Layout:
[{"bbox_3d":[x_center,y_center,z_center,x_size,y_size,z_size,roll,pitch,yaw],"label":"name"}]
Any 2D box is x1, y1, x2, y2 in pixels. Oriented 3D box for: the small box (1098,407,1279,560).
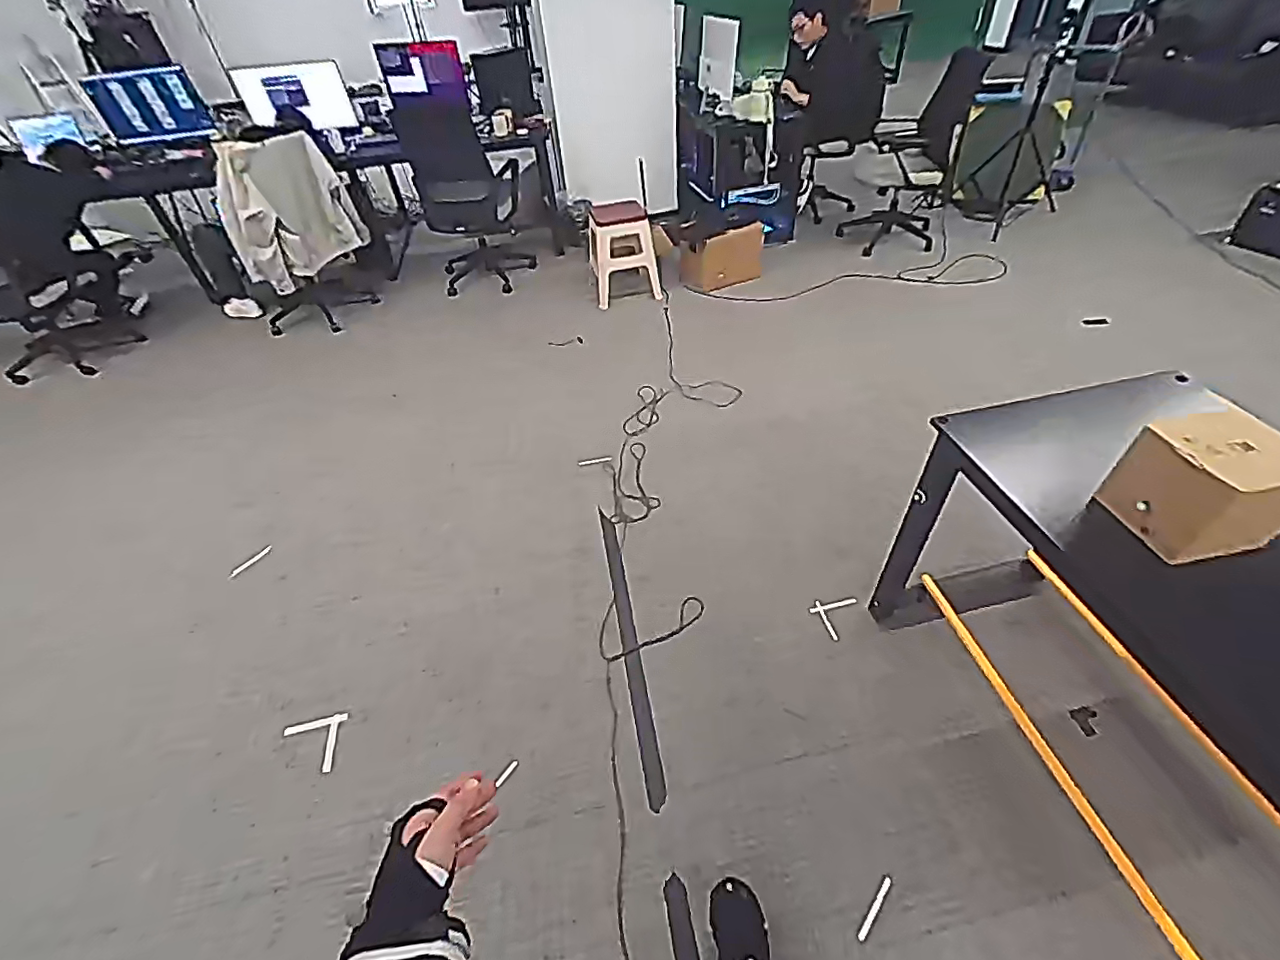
[{"bbox_3d":[0.917,0.007,0.881,0.179,0.176,0.168,-10,44,-4],"label":"small box"}]
